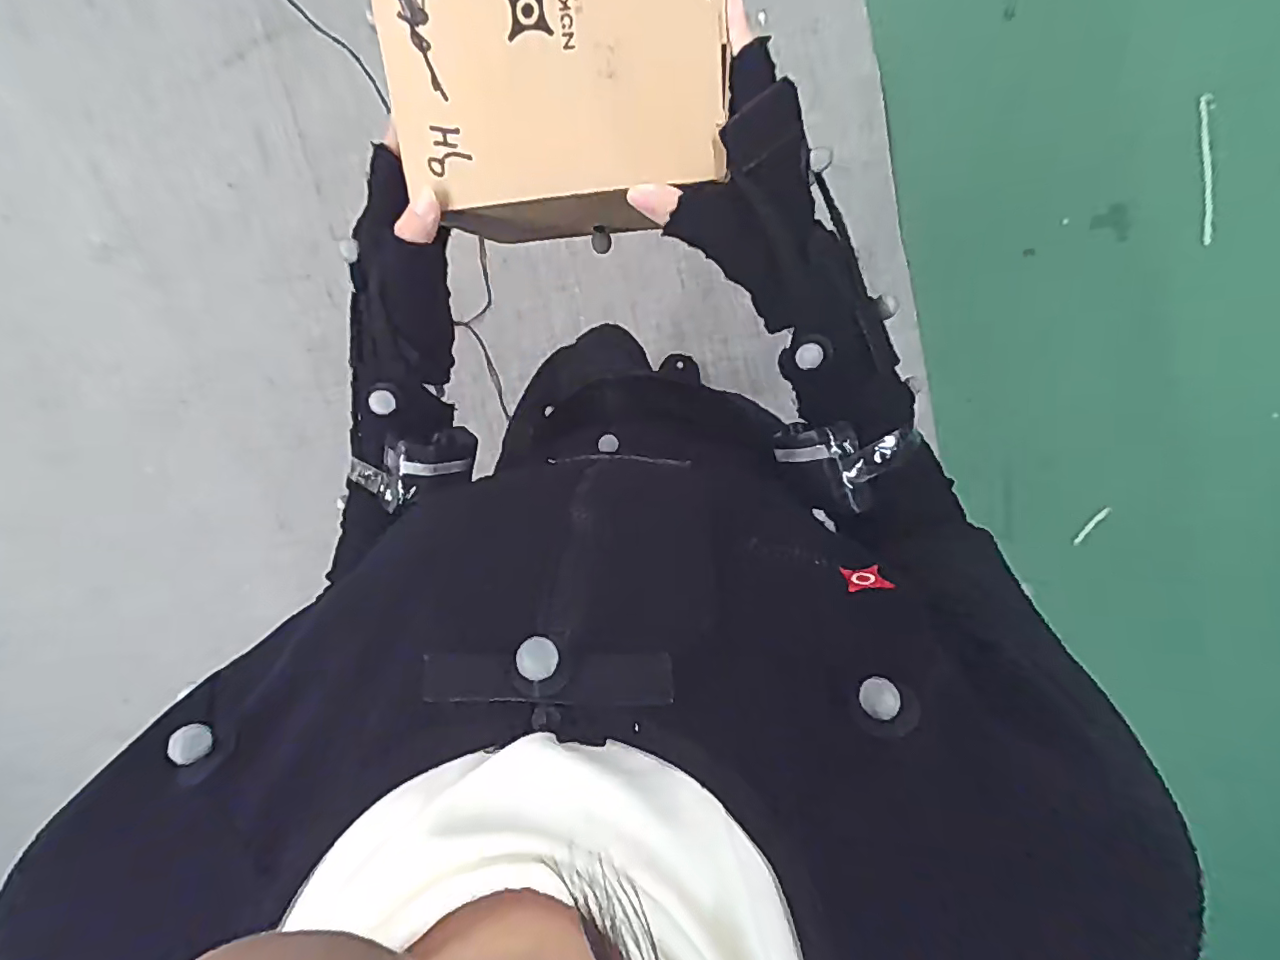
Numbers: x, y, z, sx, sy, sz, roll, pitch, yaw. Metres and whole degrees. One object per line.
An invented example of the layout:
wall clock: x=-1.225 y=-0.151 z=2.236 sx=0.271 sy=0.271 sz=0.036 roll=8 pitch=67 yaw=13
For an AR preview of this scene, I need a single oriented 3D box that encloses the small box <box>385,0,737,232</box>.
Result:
small box: x=-0.038 y=-0.264 z=0.344 sx=0.179 sy=0.176 sz=0.168 roll=-4 pitch=107 yaw=4
